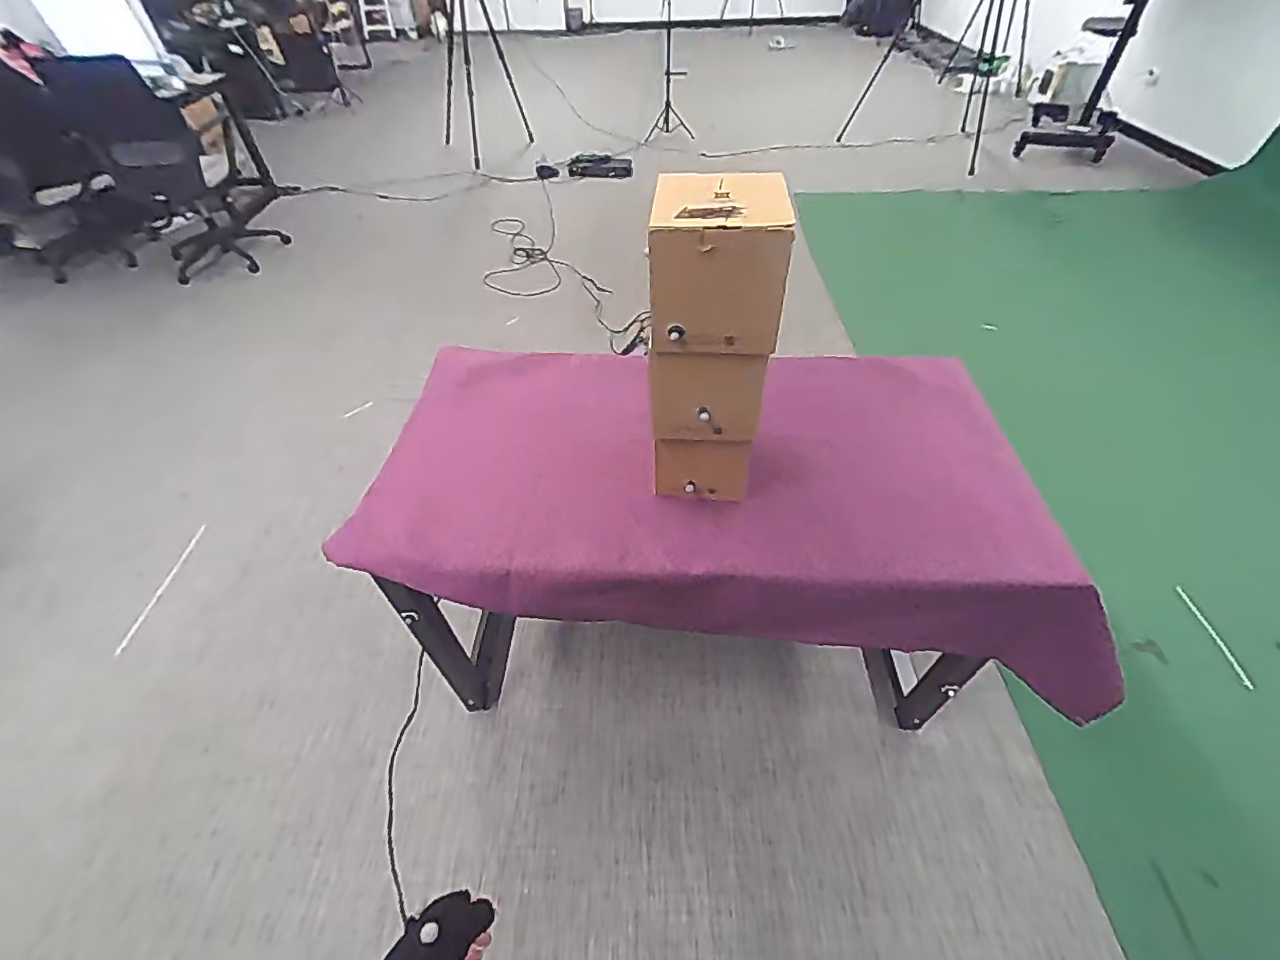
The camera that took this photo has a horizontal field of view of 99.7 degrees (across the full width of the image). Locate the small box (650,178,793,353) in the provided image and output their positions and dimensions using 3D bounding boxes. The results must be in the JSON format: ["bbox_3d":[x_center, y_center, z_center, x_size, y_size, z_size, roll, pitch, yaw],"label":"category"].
[{"bbox_3d":[0.105,-0.285,0.726,0.168,0.176,0.179,3,46,5],"label":"small box"}]

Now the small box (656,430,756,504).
[{"bbox_3d":[0.117,-0.079,0.982,0.168,0.176,0.179,3,48,6],"label":"small box"}]

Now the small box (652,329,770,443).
[{"bbox_3d":[0.107,-0.180,0.852,0.168,0.176,0.179,2,47,5],"label":"small box"}]
